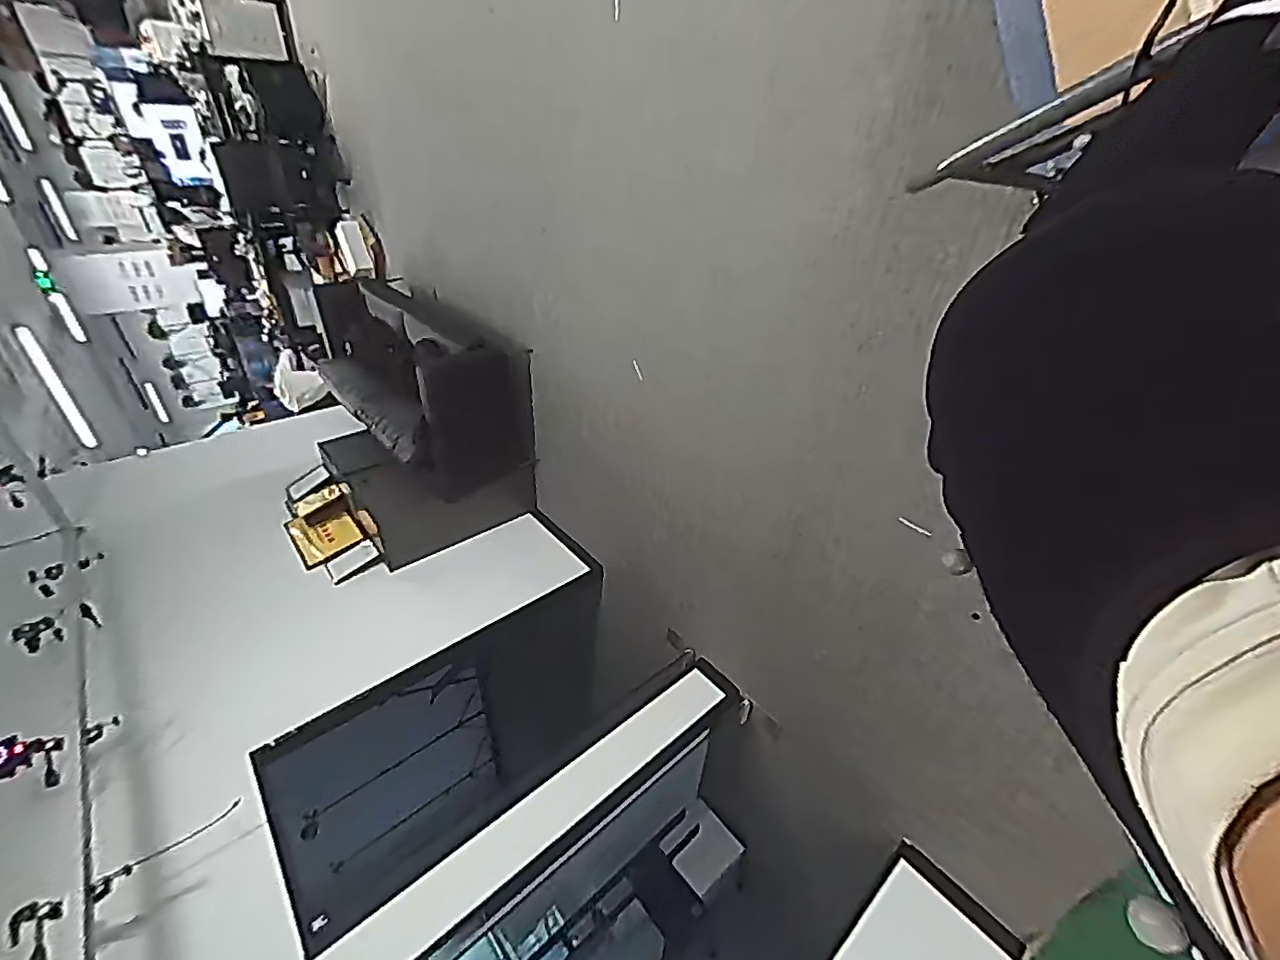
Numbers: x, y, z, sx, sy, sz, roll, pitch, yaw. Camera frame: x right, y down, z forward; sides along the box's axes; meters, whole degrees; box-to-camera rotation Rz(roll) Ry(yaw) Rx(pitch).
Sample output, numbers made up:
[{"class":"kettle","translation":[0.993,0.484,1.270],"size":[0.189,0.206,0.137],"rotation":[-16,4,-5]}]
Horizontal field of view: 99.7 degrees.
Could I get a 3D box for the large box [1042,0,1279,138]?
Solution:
[{"class":"large box","translation":[0.802,-0.775,0.764],"size":[0.320,0.320,0.408],"rotation":[-7,103,54]}]
